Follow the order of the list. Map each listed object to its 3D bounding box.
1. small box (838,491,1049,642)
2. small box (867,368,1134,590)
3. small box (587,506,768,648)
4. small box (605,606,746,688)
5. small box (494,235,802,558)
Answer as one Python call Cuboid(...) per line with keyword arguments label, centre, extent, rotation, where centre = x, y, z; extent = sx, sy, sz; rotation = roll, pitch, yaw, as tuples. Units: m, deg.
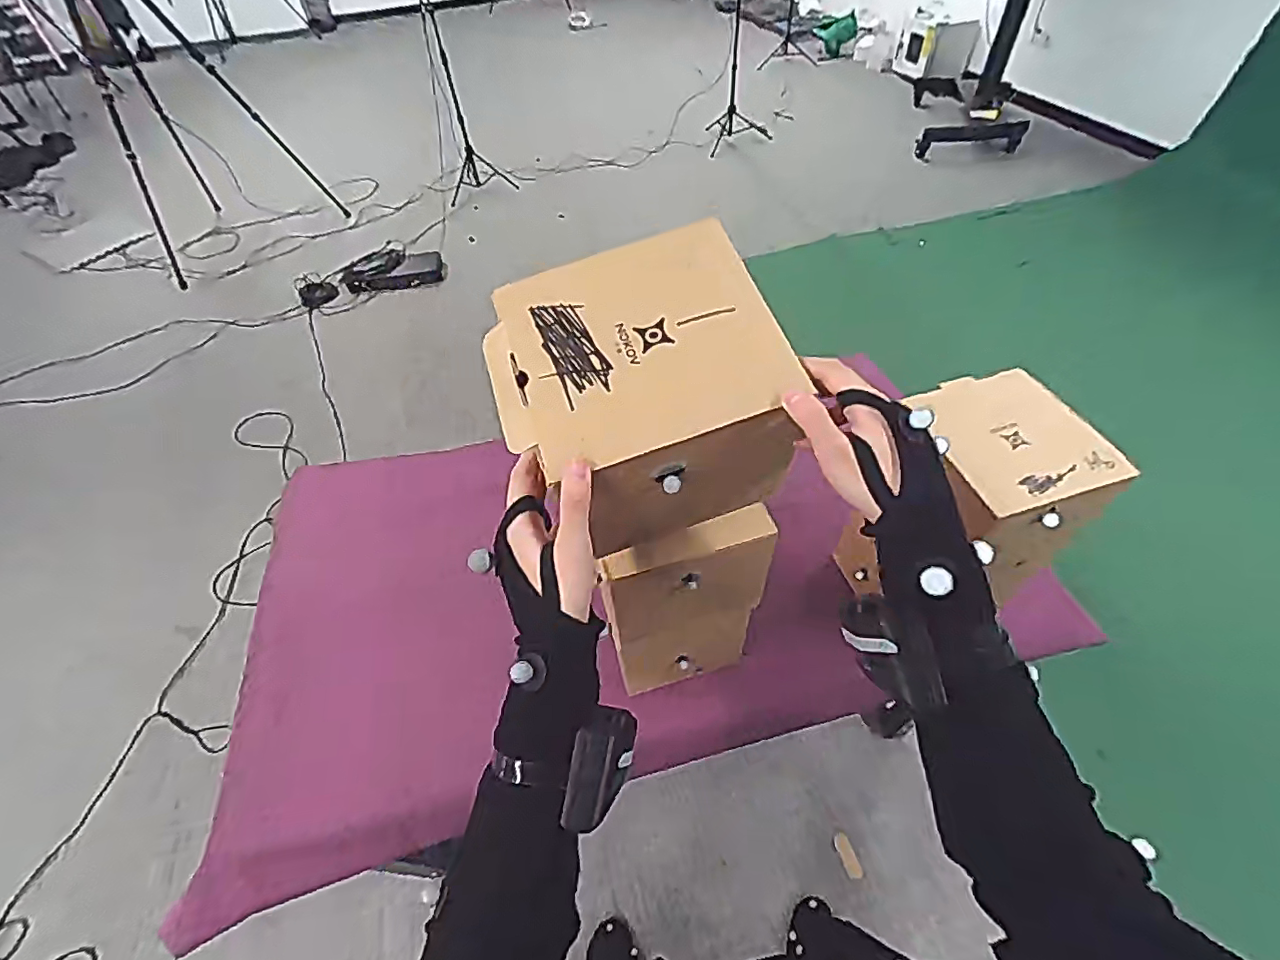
Cuboid(label="small box", centre=(0.411, 0.105, 0.770), extent=(0.179, 0.176, 0.168), rotation=(-17, 53, -6))
Cuboid(label="small box", centre=(0.399, 0.001, 0.643), extent=(0.168, 0.176, 0.179), rotation=(-17, 51, -6))
Cuboid(label="small box", centre=(0.030, 0.071, 0.626), extent=(0.179, 0.176, 0.168), rotation=(-15, 52, -7))
Cuboid(label="small box", centre=(0.037, 0.171, 0.755), extent=(0.168, 0.176, 0.179), rotation=(-15, 50, -7))
Cuboid(label="small box", centre=(0.007, -0.054, 0.441), extent=(0.179, 0.176, 0.168), rotation=(-20, 65, -3))
